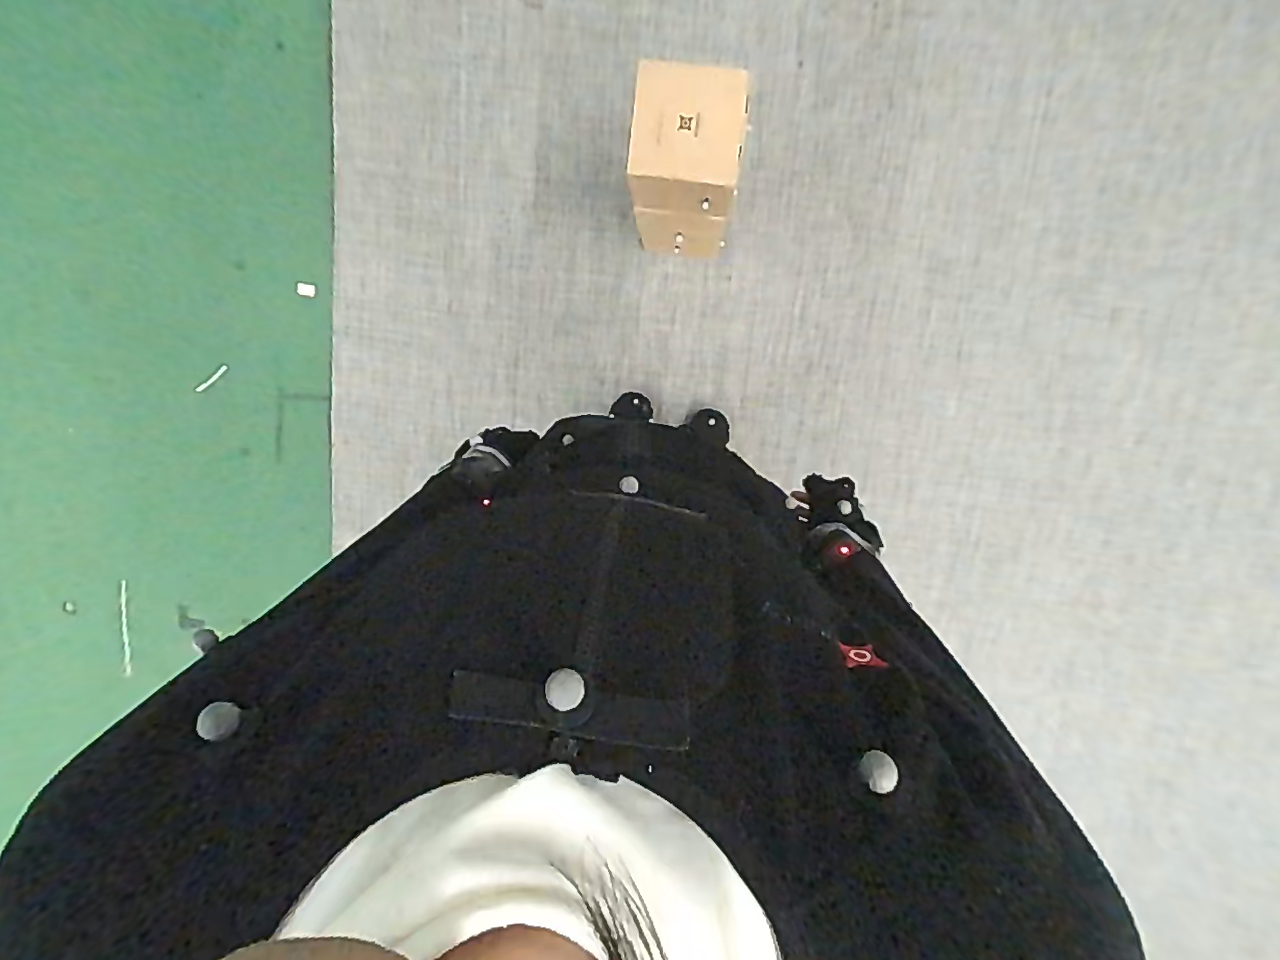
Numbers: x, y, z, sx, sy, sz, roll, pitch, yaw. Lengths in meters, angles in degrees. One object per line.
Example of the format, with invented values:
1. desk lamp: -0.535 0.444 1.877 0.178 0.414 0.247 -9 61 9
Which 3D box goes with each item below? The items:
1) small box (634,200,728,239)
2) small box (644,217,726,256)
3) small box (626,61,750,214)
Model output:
1. small box: 0.090 -0.592 1.078 0.179 0.176 0.168 9 101 3
2. small box: 0.105 -0.619 1.238 0.179 0.176 0.168 5 101 3
3. small box: 0.080 -0.567 0.917 0.179 0.176 0.168 7 100 4
